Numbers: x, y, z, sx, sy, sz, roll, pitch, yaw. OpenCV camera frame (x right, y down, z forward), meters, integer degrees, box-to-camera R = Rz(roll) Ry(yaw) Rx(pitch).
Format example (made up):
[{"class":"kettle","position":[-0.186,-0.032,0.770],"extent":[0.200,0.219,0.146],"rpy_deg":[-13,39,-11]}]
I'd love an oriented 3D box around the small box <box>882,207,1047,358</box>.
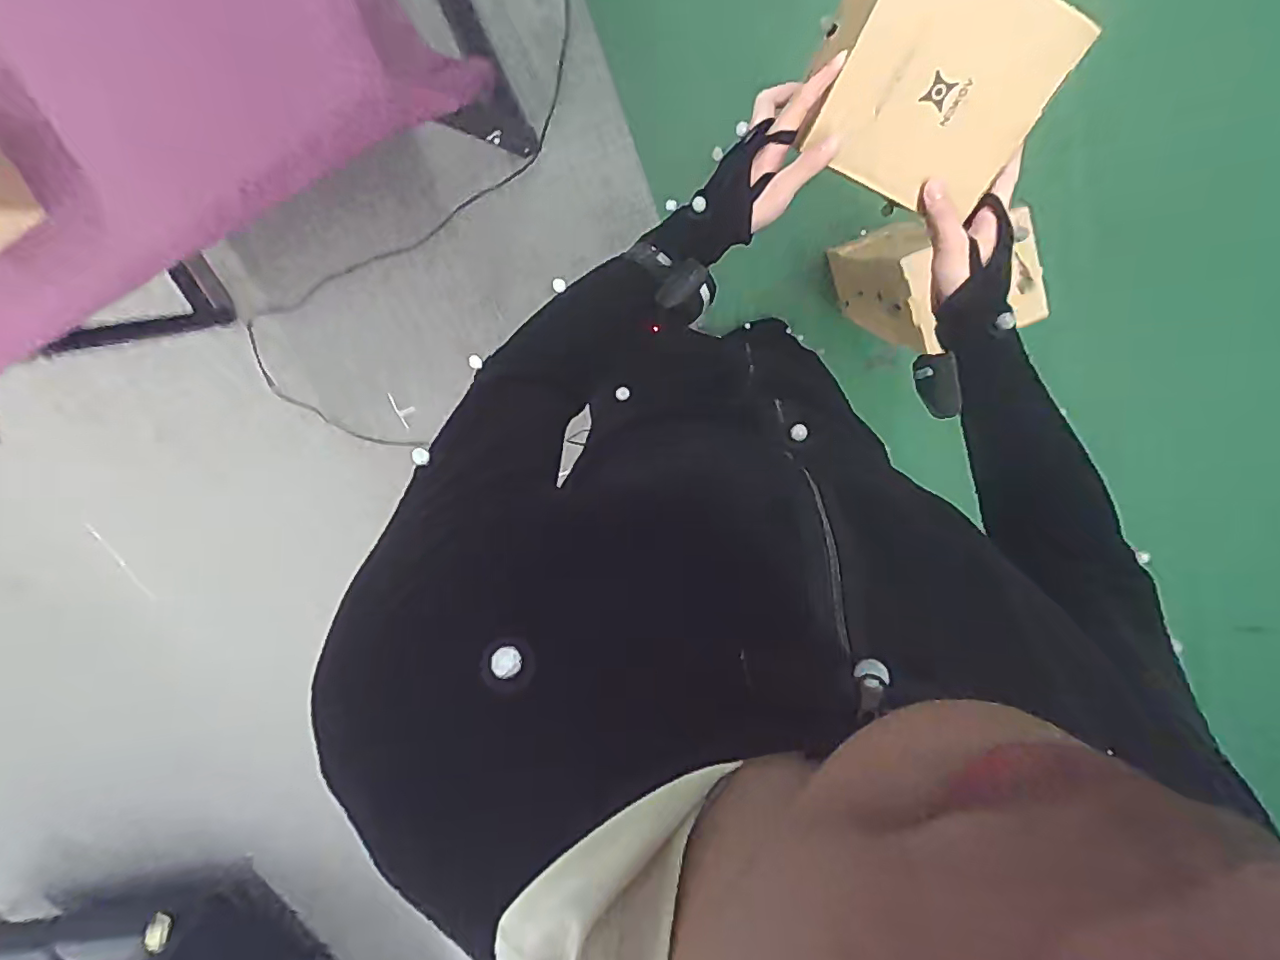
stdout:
[{"class":"small box","position":[0.508,-0.316,0.874],"extent":[0.179,0.176,0.168],"rpy_deg":[-19,108,17]}]

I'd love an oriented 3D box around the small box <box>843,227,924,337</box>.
[{"class":"small box","position":[0.558,-0.434,1.176],"extent":[0.168,0.176,0.179],"rpy_deg":[-20,108,17]}]

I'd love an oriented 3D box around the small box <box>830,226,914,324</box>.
[{"class":"small box","position":[0.577,-0.503,1.322],"extent":[0.168,0.176,0.179],"rpy_deg":[-17,109,16]}]

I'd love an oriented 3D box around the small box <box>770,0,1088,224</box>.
[{"class":"small box","position":[0.246,-0.376,0.513],"extent":[0.179,0.176,0.168],"rpy_deg":[20,124,-10]}]

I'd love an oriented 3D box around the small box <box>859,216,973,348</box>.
[{"class":"small box","position":[0.535,-0.373,1.025],"extent":[0.168,0.176,0.179],"rpy_deg":[-21,109,18]}]
